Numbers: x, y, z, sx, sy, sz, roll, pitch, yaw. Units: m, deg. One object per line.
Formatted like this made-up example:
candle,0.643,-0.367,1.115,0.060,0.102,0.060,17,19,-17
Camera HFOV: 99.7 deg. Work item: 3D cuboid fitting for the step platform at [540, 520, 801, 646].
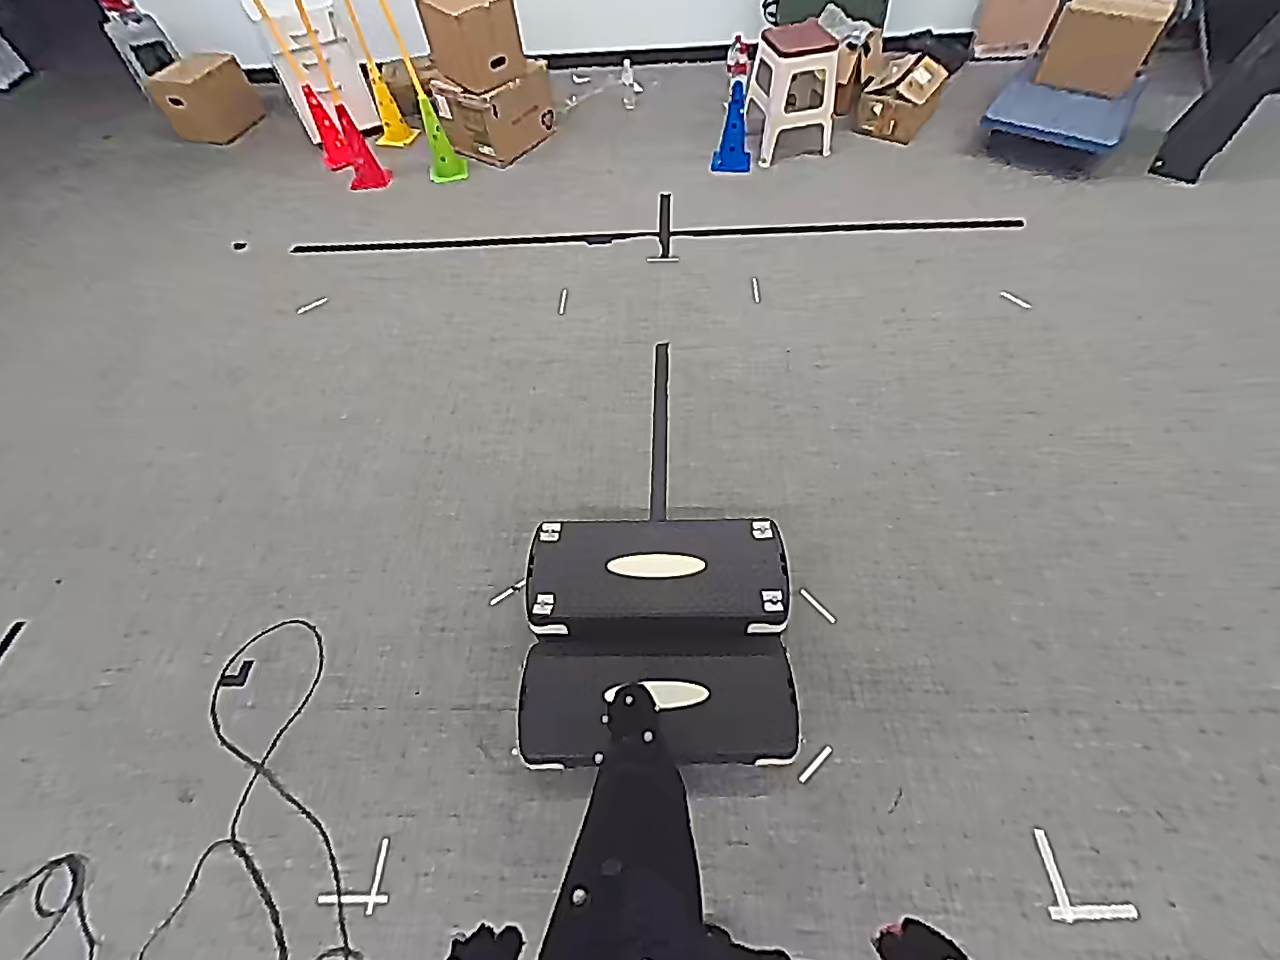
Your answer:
step platform,0.077,0.273,1.456,0.684,0.204,0.286,-1,56,1
